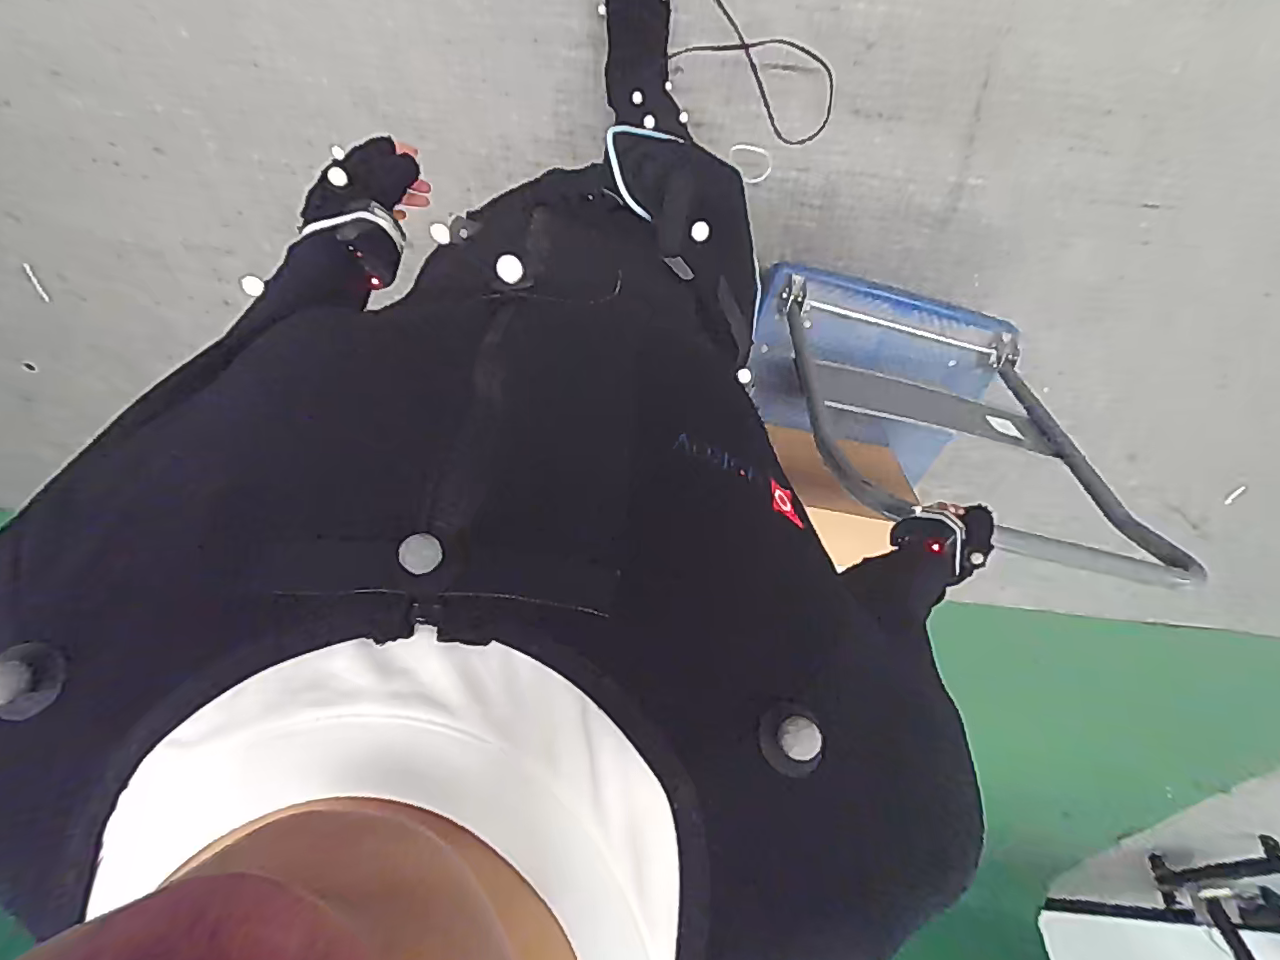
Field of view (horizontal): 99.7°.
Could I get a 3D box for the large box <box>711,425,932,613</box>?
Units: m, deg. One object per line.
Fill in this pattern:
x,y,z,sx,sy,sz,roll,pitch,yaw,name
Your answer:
0.410,0.092,1.349,0.408,0.320,0.320,9,129,-4,large box
